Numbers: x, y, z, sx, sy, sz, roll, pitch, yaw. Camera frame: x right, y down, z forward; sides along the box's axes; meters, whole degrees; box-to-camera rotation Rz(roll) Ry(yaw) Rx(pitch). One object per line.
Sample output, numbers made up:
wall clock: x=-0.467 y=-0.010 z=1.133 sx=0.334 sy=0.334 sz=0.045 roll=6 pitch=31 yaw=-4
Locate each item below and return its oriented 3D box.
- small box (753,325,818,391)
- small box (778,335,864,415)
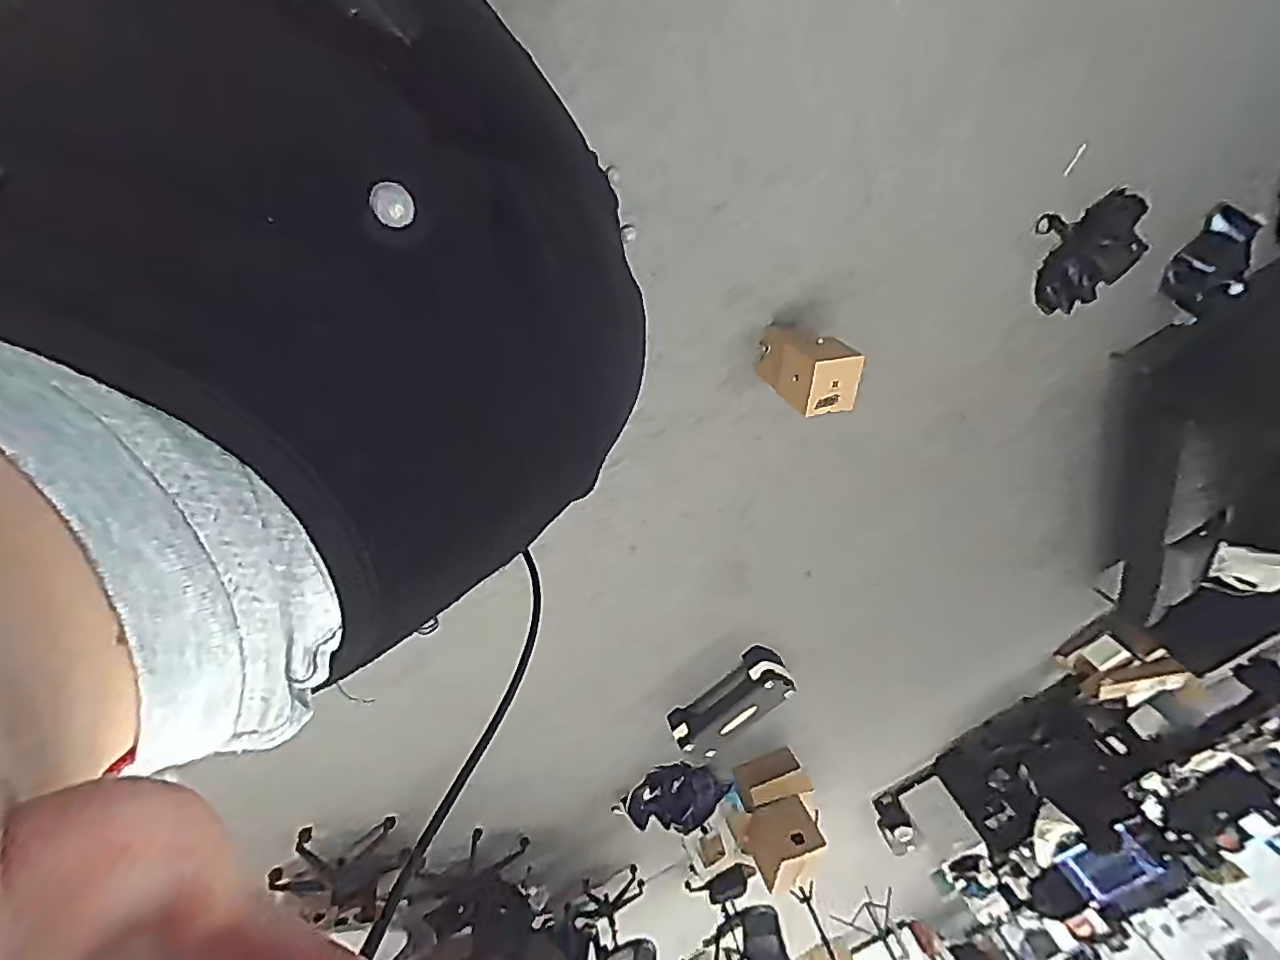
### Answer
small box: x=0.502 y=-0.395 z=1.763 sx=0.179 sy=0.176 sz=0.168 roll=1 pitch=123 yaw=-20
small box: x=0.533 y=-0.318 z=1.619 sx=0.168 sy=0.176 sz=0.179 roll=-11 pitch=126 yaw=-15
